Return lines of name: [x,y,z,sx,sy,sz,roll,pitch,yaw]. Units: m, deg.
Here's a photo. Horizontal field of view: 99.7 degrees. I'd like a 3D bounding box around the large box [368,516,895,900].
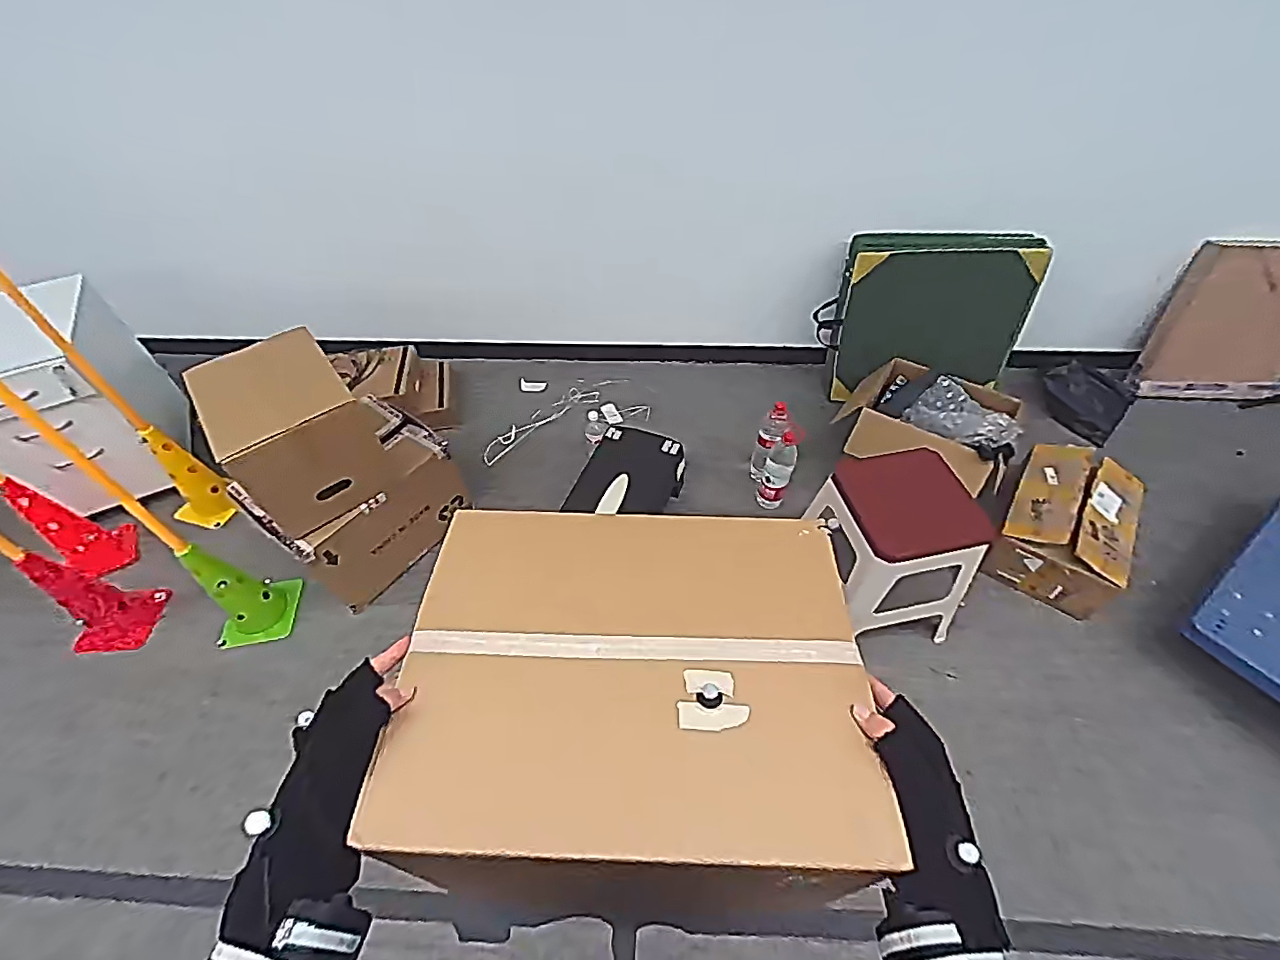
large box: [-0.006,0.258,0.610,0.408,0.320,0.320,2,47,1]
